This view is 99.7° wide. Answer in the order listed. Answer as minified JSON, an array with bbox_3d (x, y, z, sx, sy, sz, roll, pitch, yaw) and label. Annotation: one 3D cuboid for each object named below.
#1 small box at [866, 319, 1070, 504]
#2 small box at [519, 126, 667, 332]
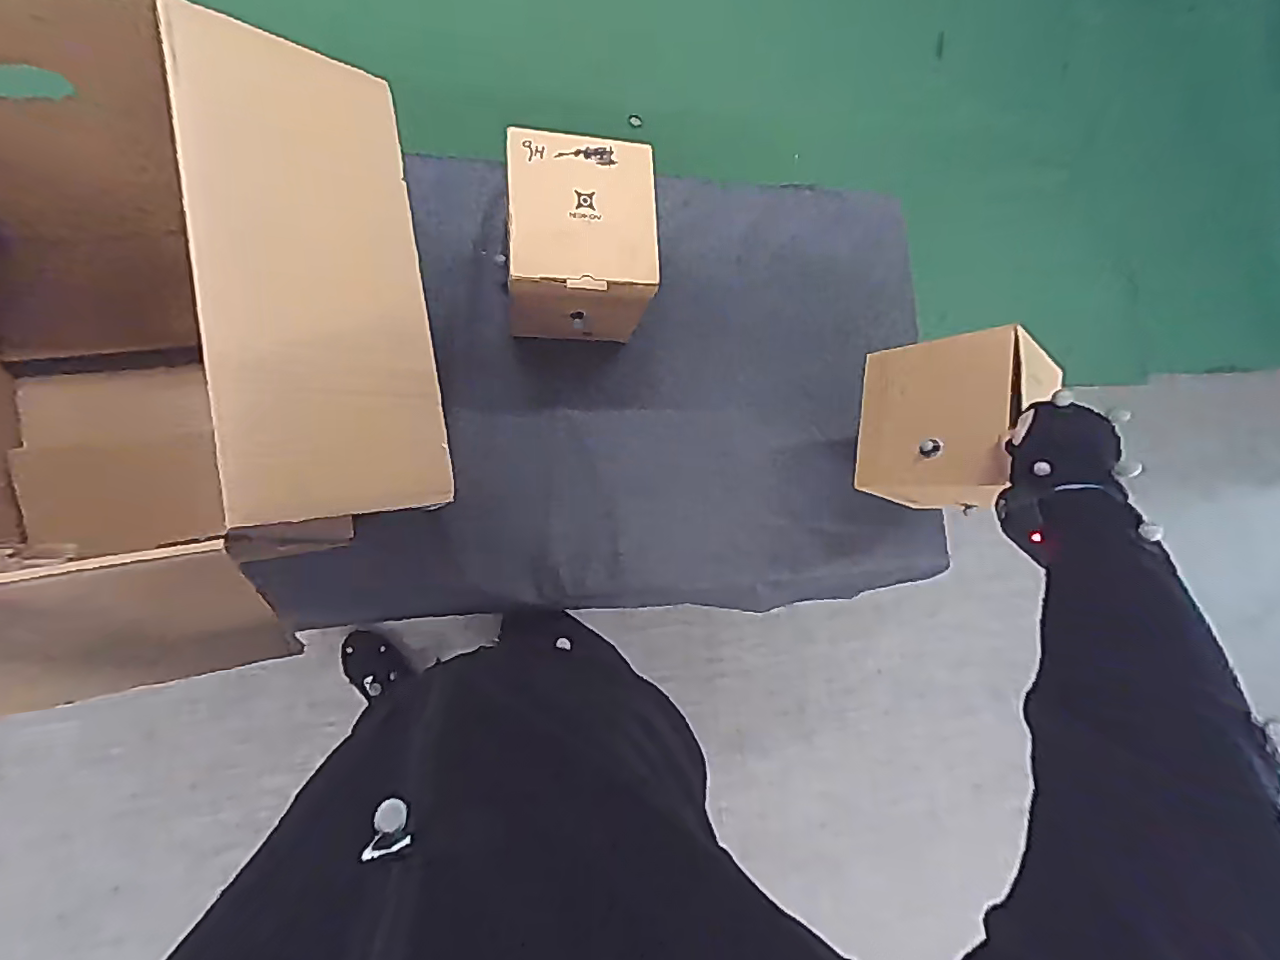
[{"bbox_3d":[0.400,-0.069,0.668,0.168,0.176,0.179,13,80,-37],"label":"small box"},{"bbox_3d":[-0.067,-0.300,0.686,0.168,0.176,0.179,0,85,-14],"label":"small box"}]
